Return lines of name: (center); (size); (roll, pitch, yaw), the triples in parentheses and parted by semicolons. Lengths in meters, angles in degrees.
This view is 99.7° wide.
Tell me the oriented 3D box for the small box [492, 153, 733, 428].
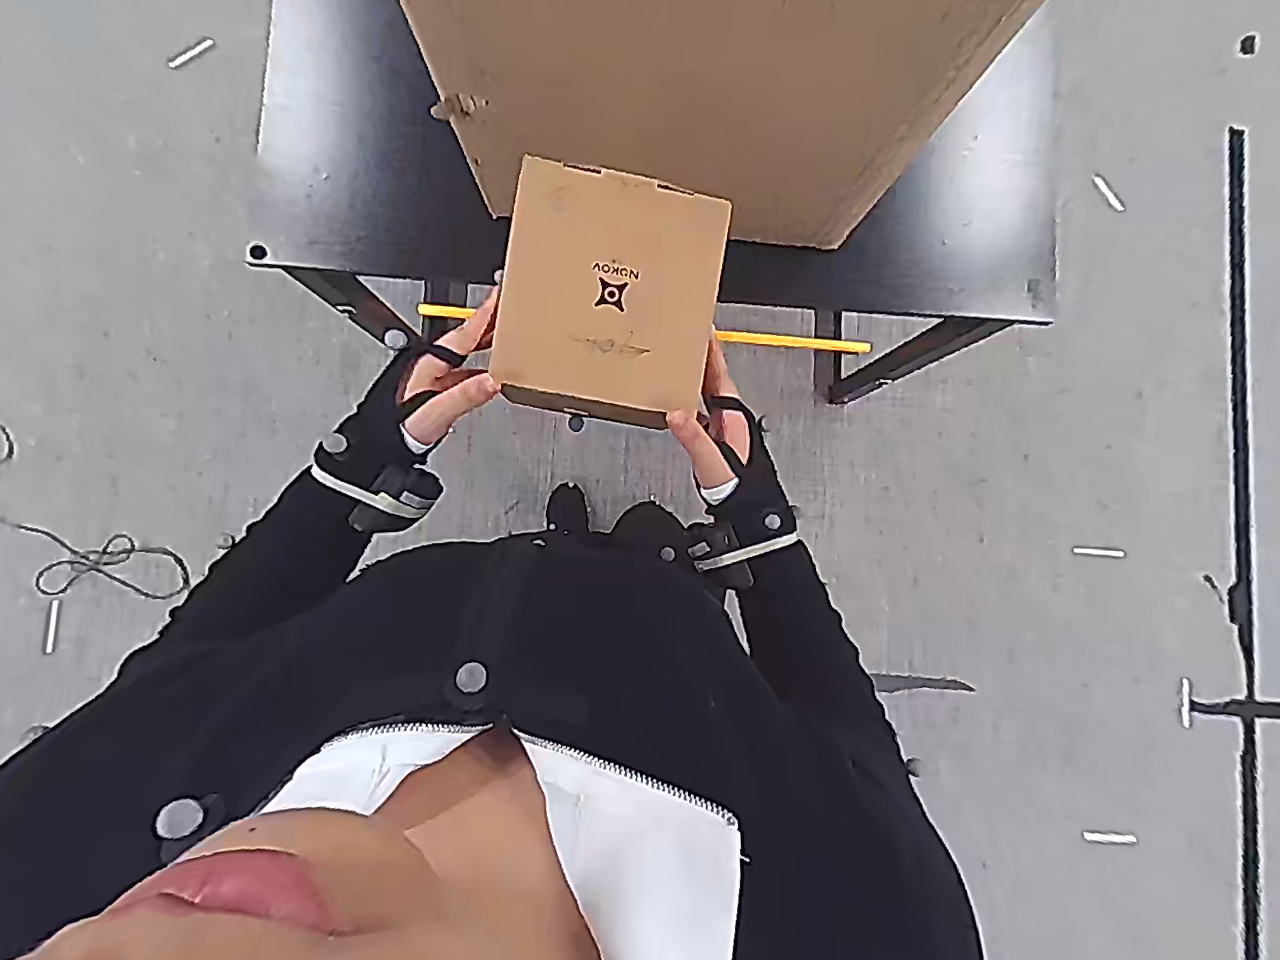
small box: (-0.028, -0.151, 0.496); (0.168, 0.176, 0.179); (9, 91, -6)
